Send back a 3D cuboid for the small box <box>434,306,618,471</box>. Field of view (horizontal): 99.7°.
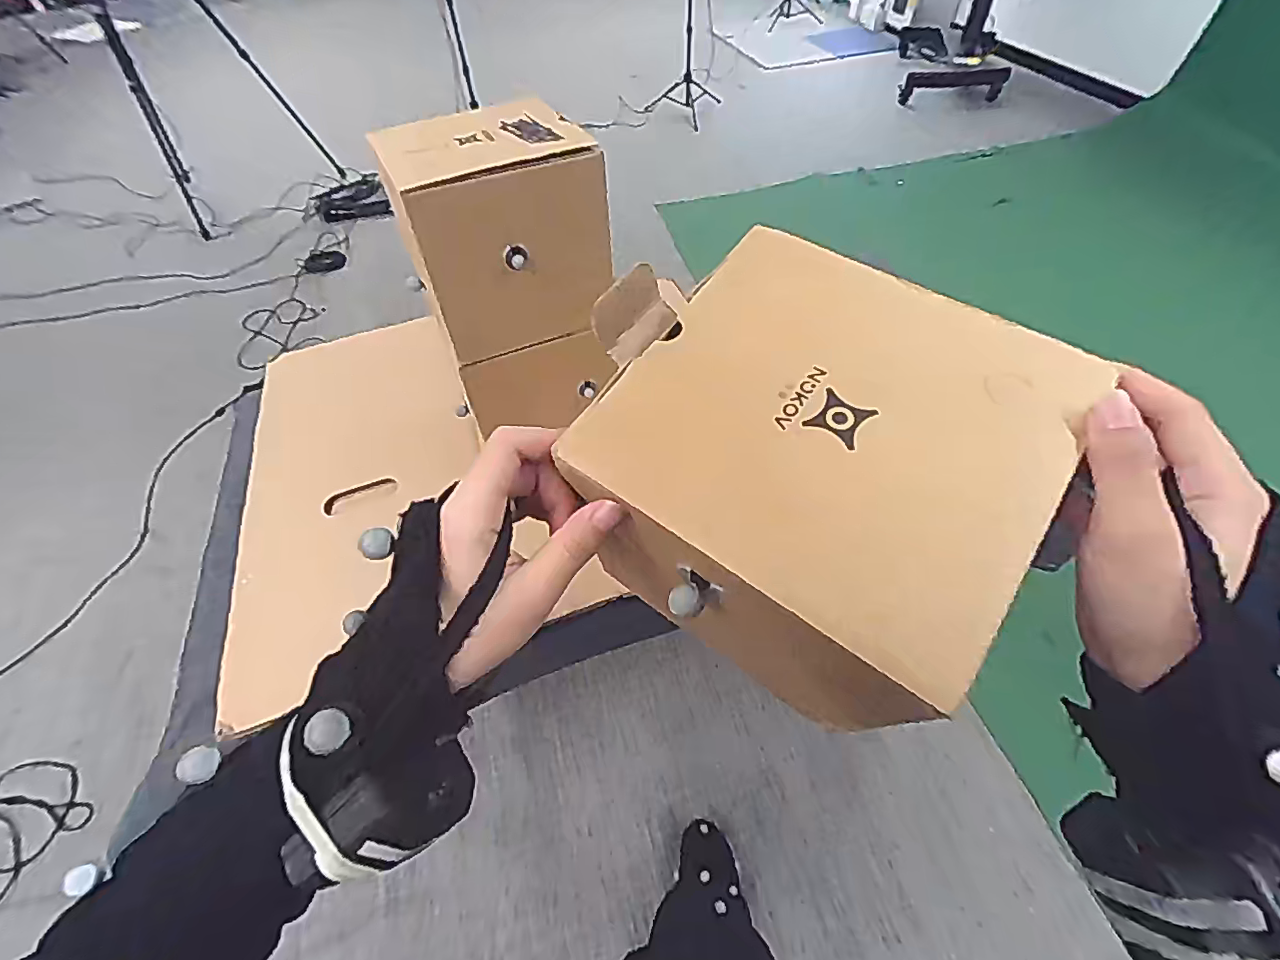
[{"bbox_3d":[-0.135,-0.142,0.669,0.179,0.176,0.168,-22,52,-15],"label":"small box"}]

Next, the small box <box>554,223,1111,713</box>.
[{"bbox_3d":[0.086,0.005,0.298,0.179,0.176,0.168,32,70,20],"label":"small box"}]

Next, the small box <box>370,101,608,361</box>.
[{"bbox_3d":[-0.140,-0.250,0.545,0.179,0.176,0.168,-23,52,-15],"label":"small box"}]
